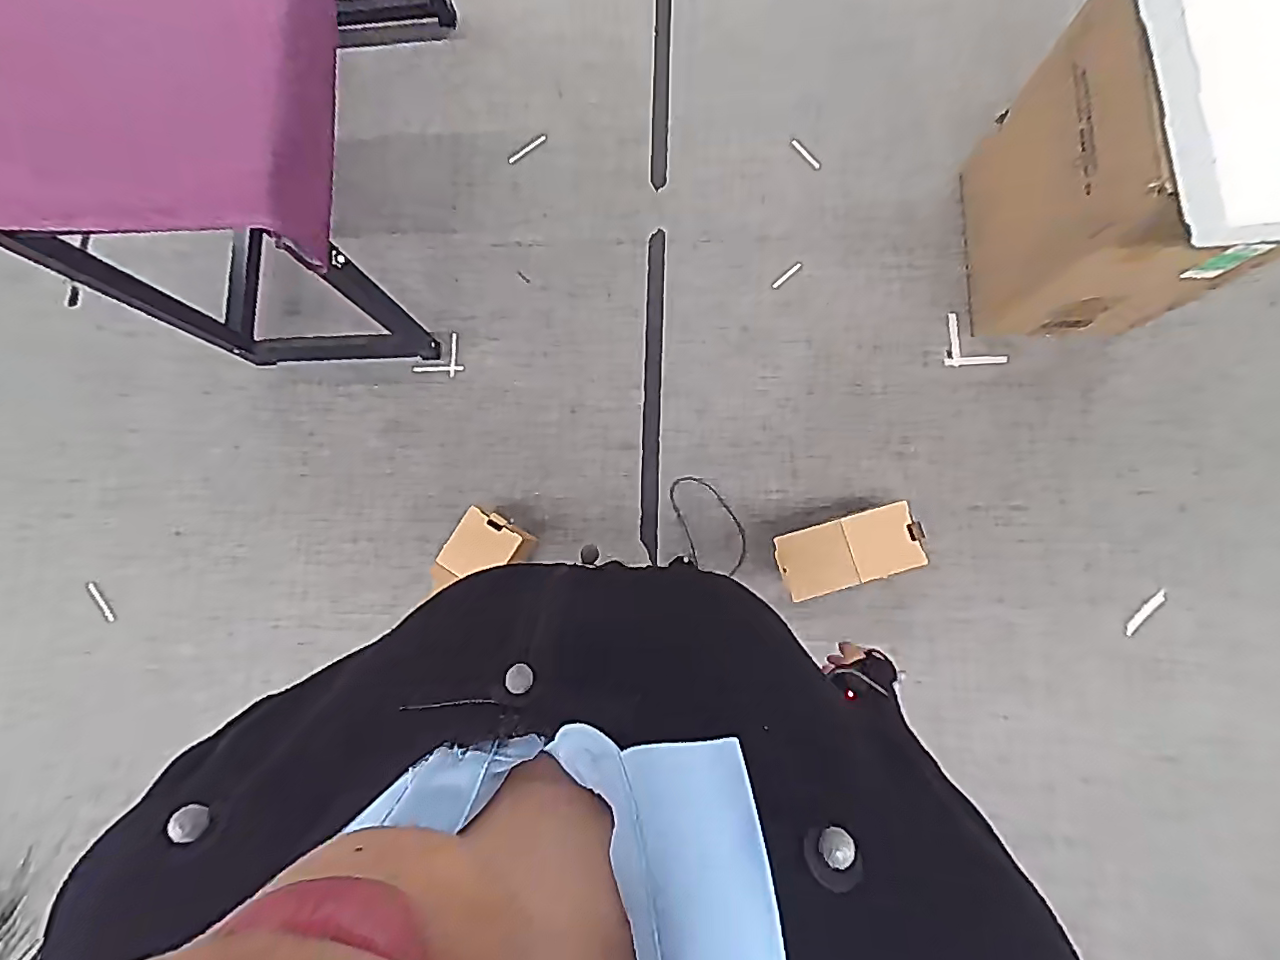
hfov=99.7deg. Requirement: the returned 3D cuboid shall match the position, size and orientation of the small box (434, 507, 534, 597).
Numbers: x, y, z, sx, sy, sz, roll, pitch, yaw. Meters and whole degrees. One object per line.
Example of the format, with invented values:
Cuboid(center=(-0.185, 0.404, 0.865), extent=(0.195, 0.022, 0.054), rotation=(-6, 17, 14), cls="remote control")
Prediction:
Cuboid(center=(-0.406, 0.193, 1.447), extent=(0.168, 0.176, 0.179), rotation=(32, 84, 7), cls="small box")
